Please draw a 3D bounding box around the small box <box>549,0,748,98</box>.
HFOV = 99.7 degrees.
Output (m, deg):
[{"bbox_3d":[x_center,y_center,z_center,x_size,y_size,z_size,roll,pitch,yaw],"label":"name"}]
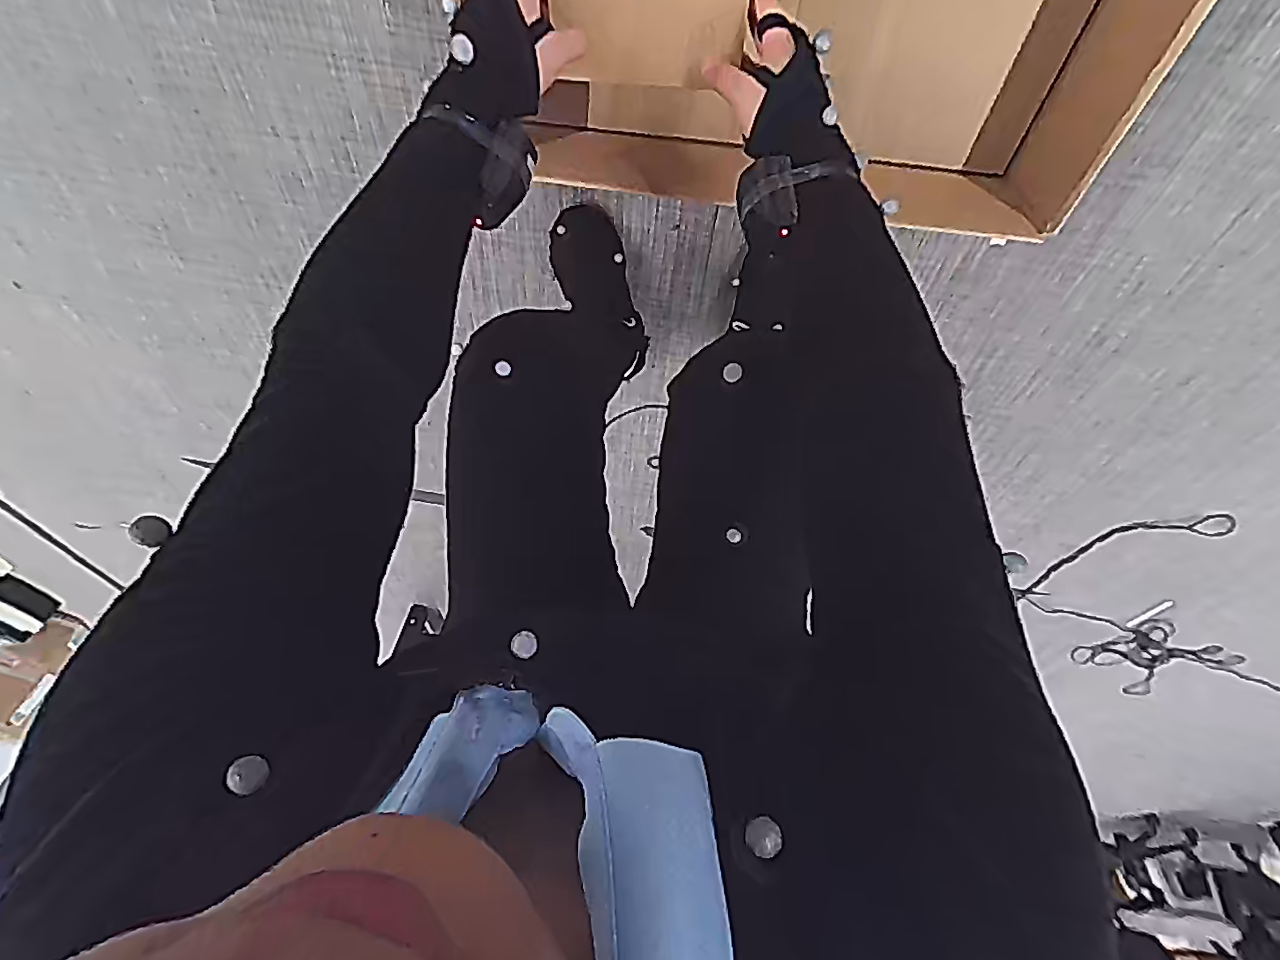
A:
[{"bbox_3d":[0.017,-0.464,0.466,0.168,0.176,0.179,6,140,2],"label":"small box"}]
